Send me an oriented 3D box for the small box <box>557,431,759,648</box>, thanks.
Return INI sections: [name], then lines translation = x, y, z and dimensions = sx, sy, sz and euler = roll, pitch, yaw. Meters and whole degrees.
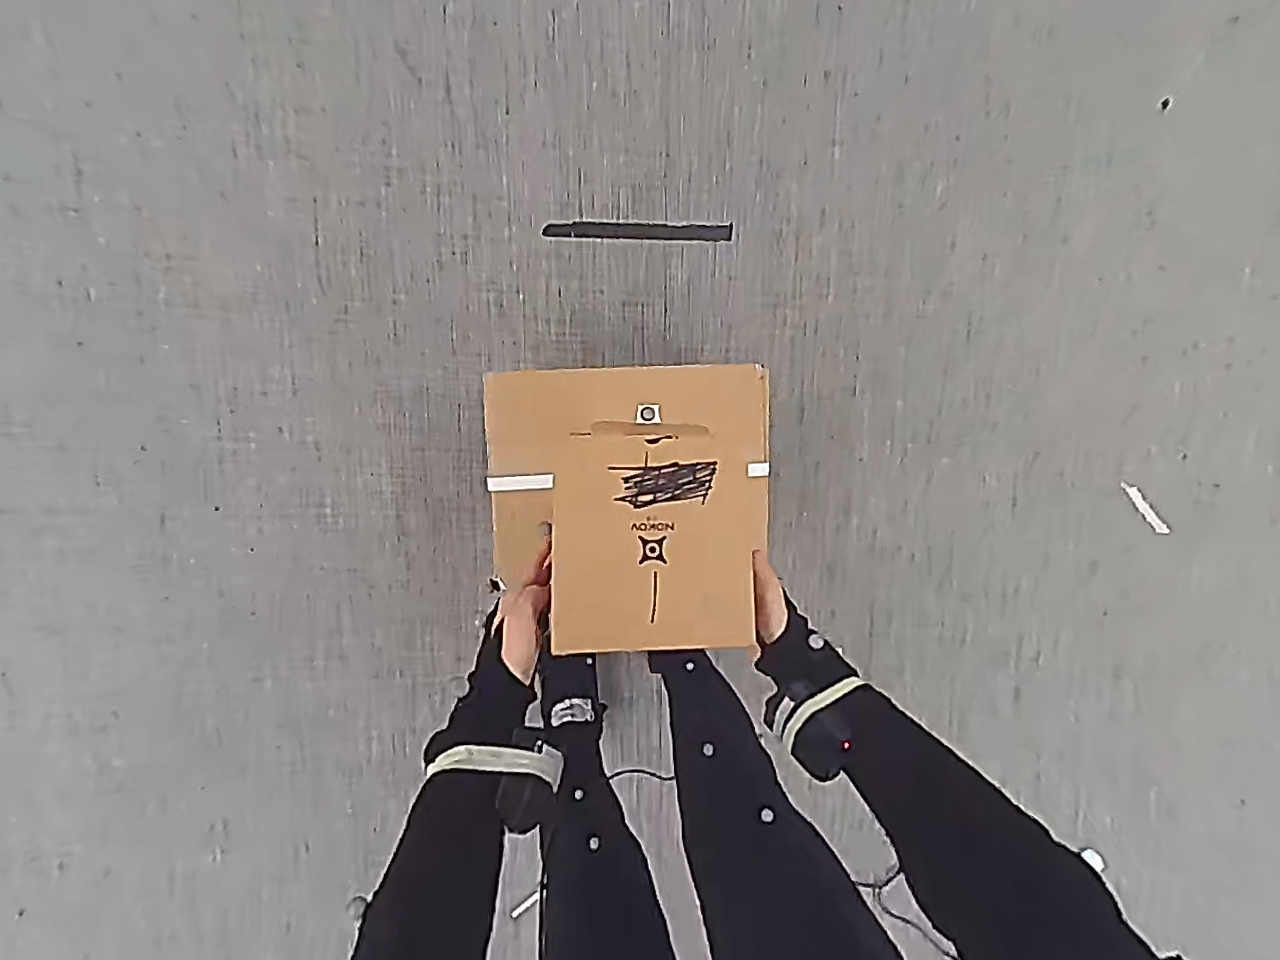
[small box]
translation = 0.005, 0.059, 0.520
dimensions = 0.168, 0.176, 0.179
euler = 0, 82, -8
